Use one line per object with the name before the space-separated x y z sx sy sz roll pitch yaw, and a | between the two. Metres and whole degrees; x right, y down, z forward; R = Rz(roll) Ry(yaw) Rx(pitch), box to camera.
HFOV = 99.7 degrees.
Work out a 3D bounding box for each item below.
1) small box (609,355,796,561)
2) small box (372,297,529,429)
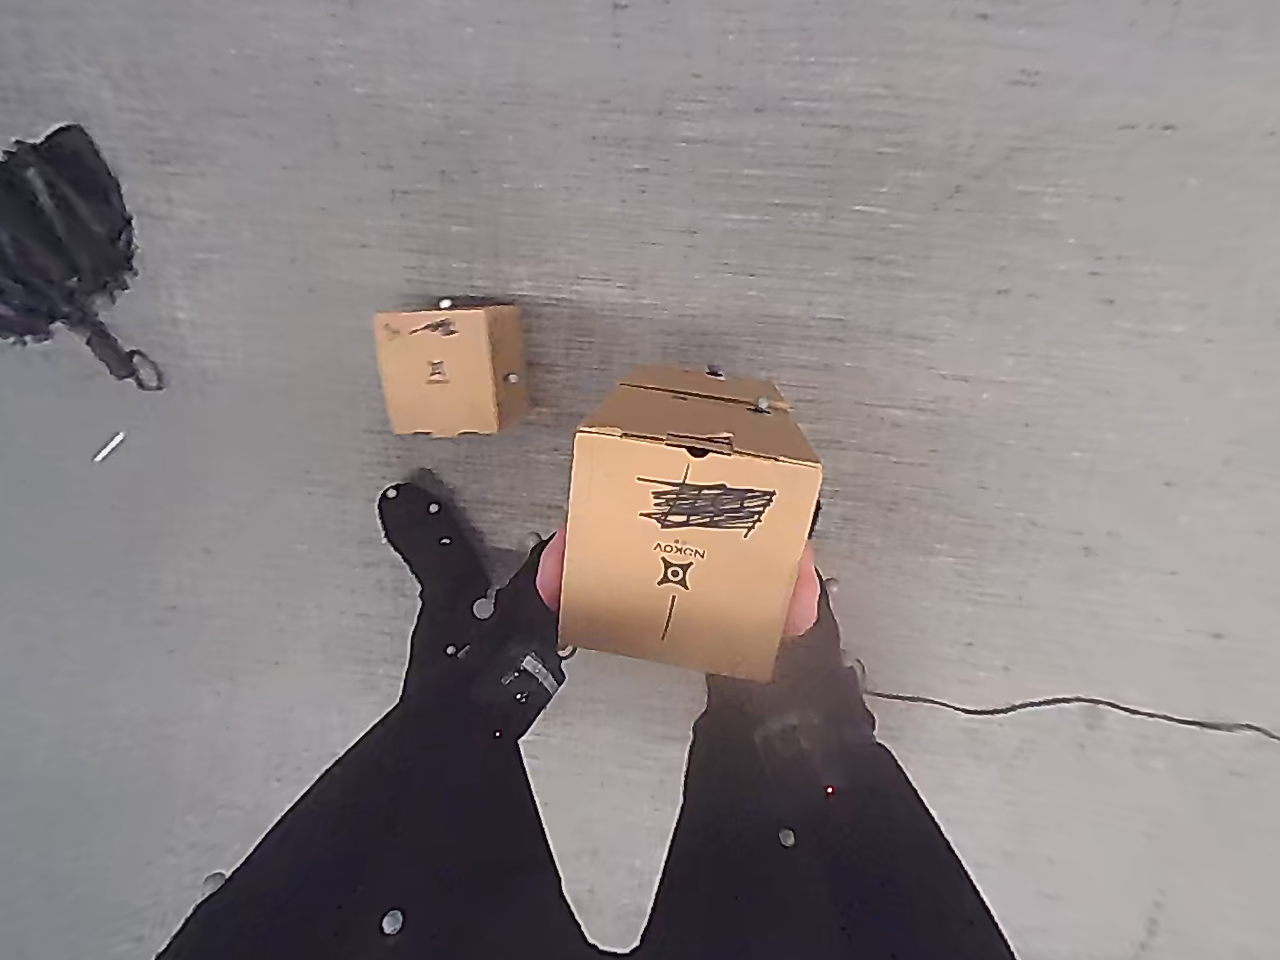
small box | 0.067 -0.035 0.602 0.168 0.176 0.179 8 109 6
small box | -0.278 -0.186 0.840 0.168 0.176 0.179 0 111 6
